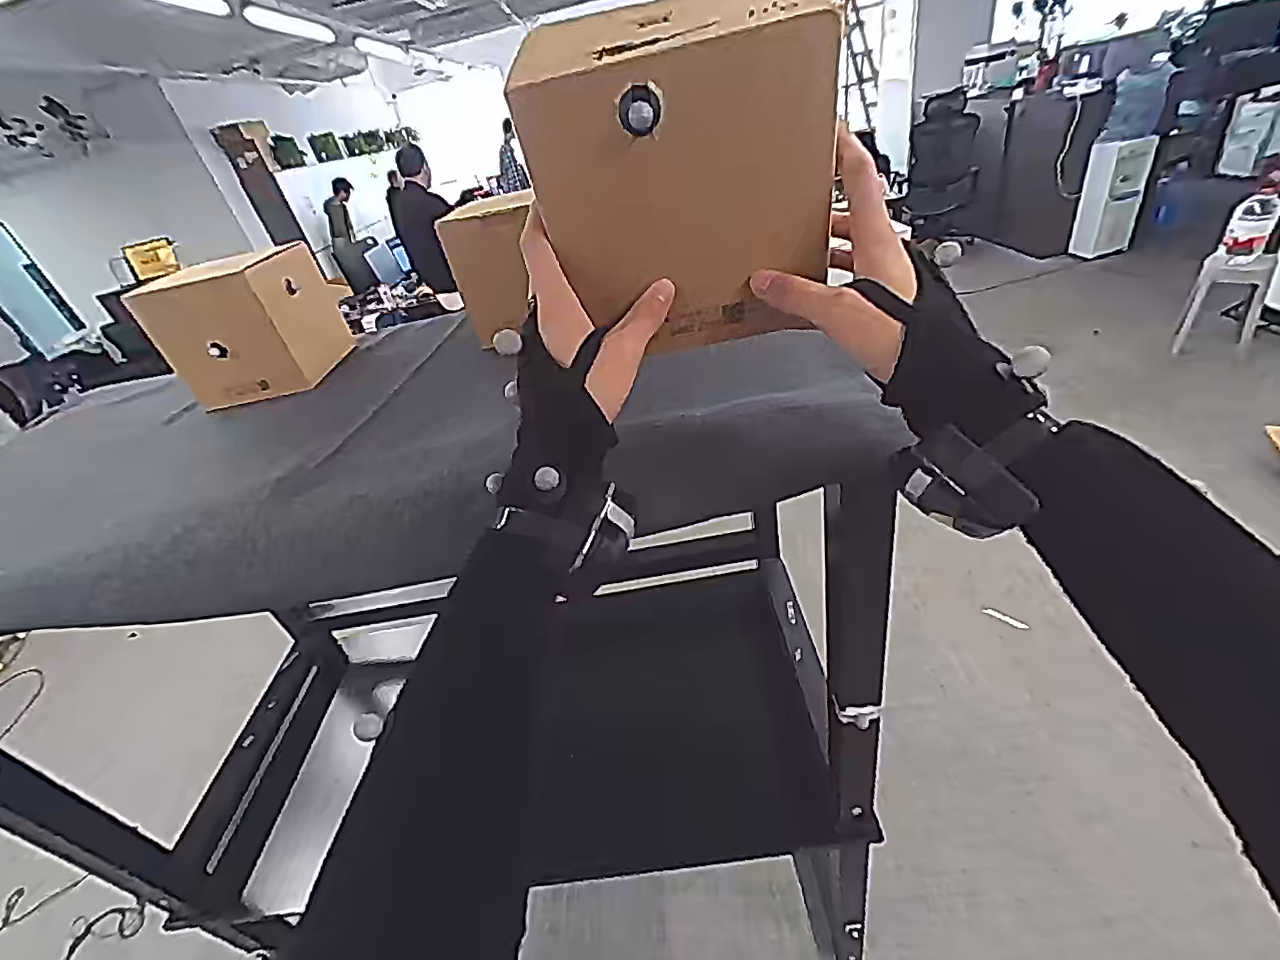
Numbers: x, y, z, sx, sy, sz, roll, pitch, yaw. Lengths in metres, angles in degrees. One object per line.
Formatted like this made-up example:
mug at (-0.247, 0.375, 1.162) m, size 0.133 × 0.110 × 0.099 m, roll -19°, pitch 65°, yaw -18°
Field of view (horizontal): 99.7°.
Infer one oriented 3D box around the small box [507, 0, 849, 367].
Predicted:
small box at (0.026, -0.203, 0.367) m, size 0.168 × 0.176 × 0.179 m, roll -10°, pitch 46°, yaw 6°

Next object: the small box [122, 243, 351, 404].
small box at (-0.556, -0.221, 0.781) m, size 0.168 × 0.176 × 0.179 m, roll -10°, pitch 35°, yaw 4°

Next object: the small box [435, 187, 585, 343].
small box at (-0.152, -0.301, 0.758) m, size 0.168 × 0.176 × 0.179 m, roll -7°, pitch 34°, yaw 8°
